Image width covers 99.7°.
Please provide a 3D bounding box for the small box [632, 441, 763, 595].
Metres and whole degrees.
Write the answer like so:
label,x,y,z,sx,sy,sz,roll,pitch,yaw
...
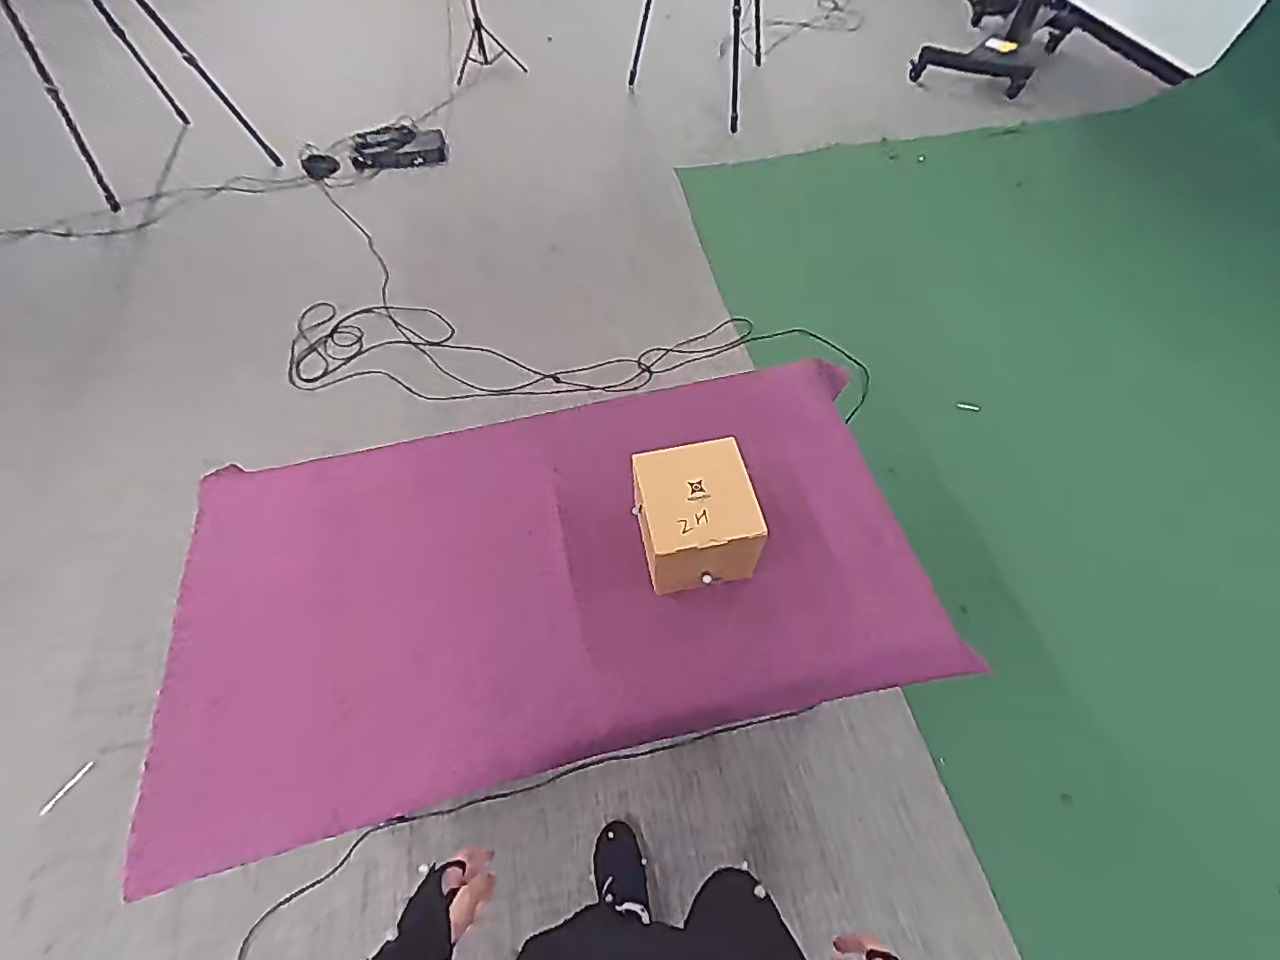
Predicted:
label,x,y,z,sx,sy,sz,roll,pitch,yaw
small box,0.082,0.064,0.871,0.168,0.176,0.179,-10,59,-4
